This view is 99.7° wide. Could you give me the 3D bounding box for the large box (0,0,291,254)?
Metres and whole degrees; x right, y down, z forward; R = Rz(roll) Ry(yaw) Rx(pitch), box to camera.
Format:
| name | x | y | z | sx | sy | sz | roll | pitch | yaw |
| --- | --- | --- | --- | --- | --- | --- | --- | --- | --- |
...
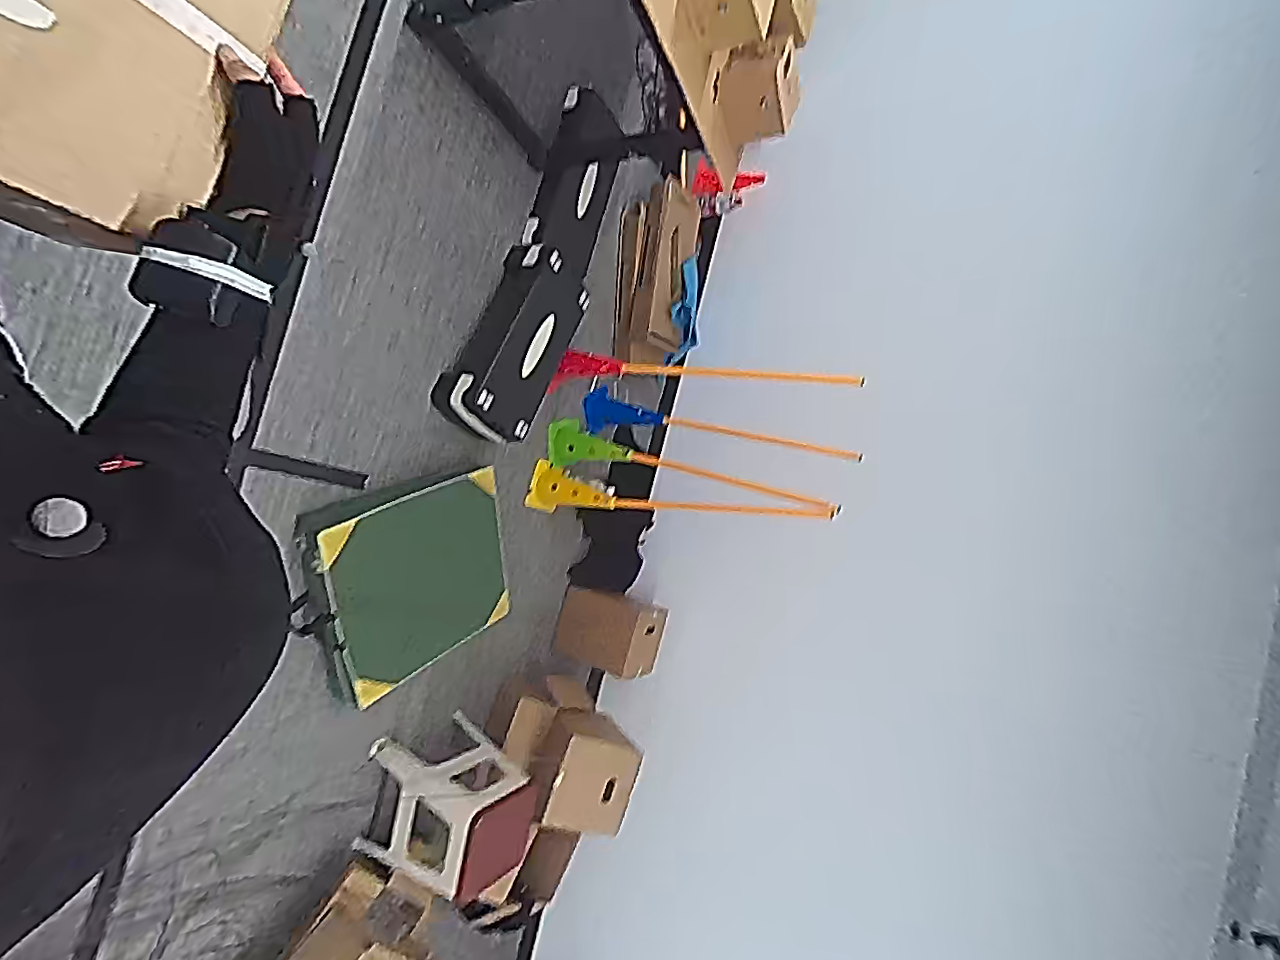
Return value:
| name | x | y | z | sx | sy | sz | roll | pitch | yaw |
| --- | --- | --- | --- | --- | --- | --- | --- | --- | --- |
| large box | -0.522 | -0.392 | 0.339 | 0.408 | 0.320 | 0.320 | 20 | 89 | -60 |
